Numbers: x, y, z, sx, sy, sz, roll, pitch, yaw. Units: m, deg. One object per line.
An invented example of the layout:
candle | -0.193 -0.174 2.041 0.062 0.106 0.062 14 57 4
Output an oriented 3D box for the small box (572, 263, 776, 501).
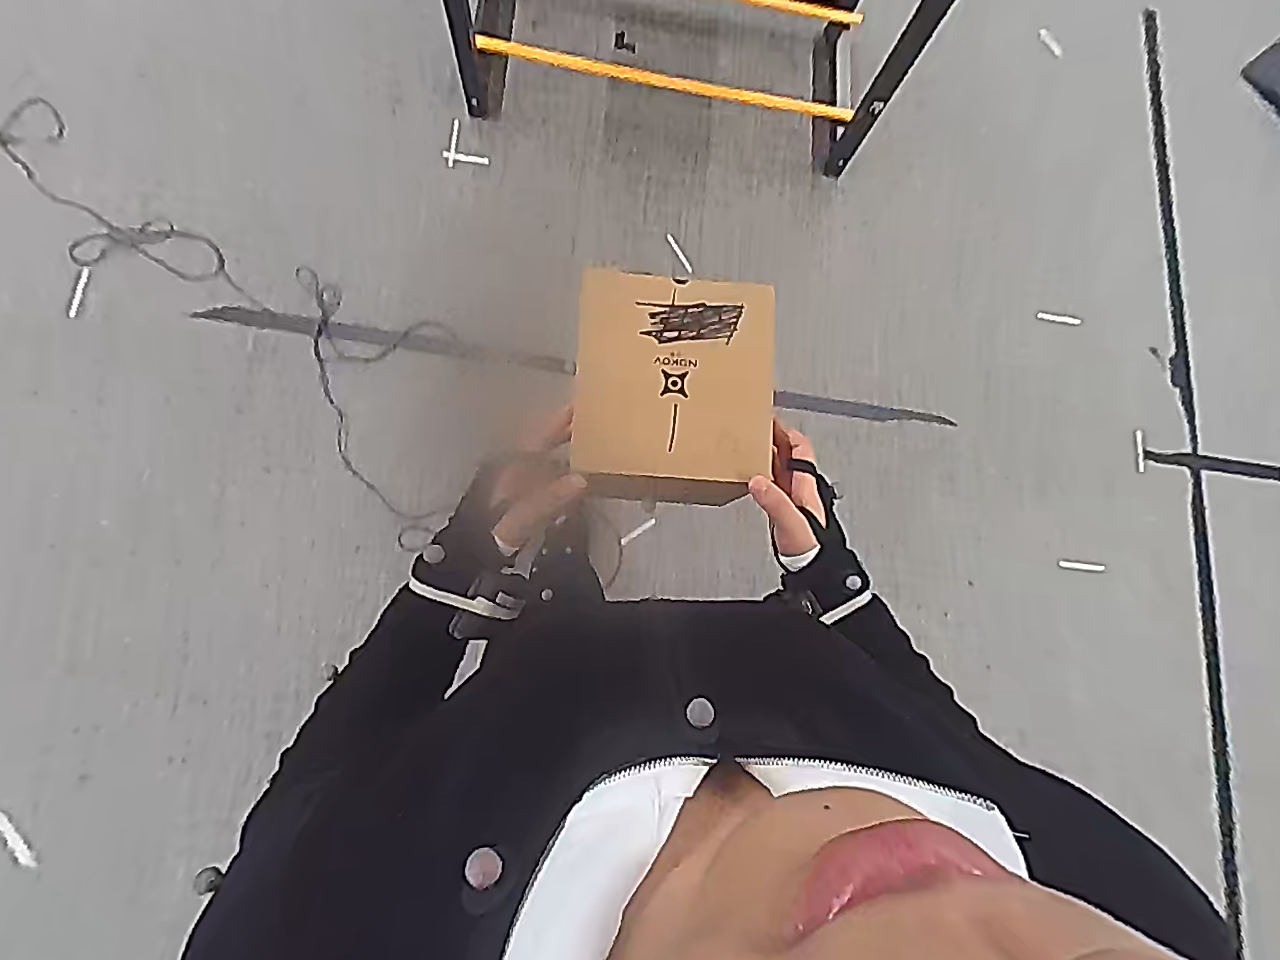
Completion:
small box | 0.024 -0.080 0.526 0.168 0.176 0.179 4 81 -4
